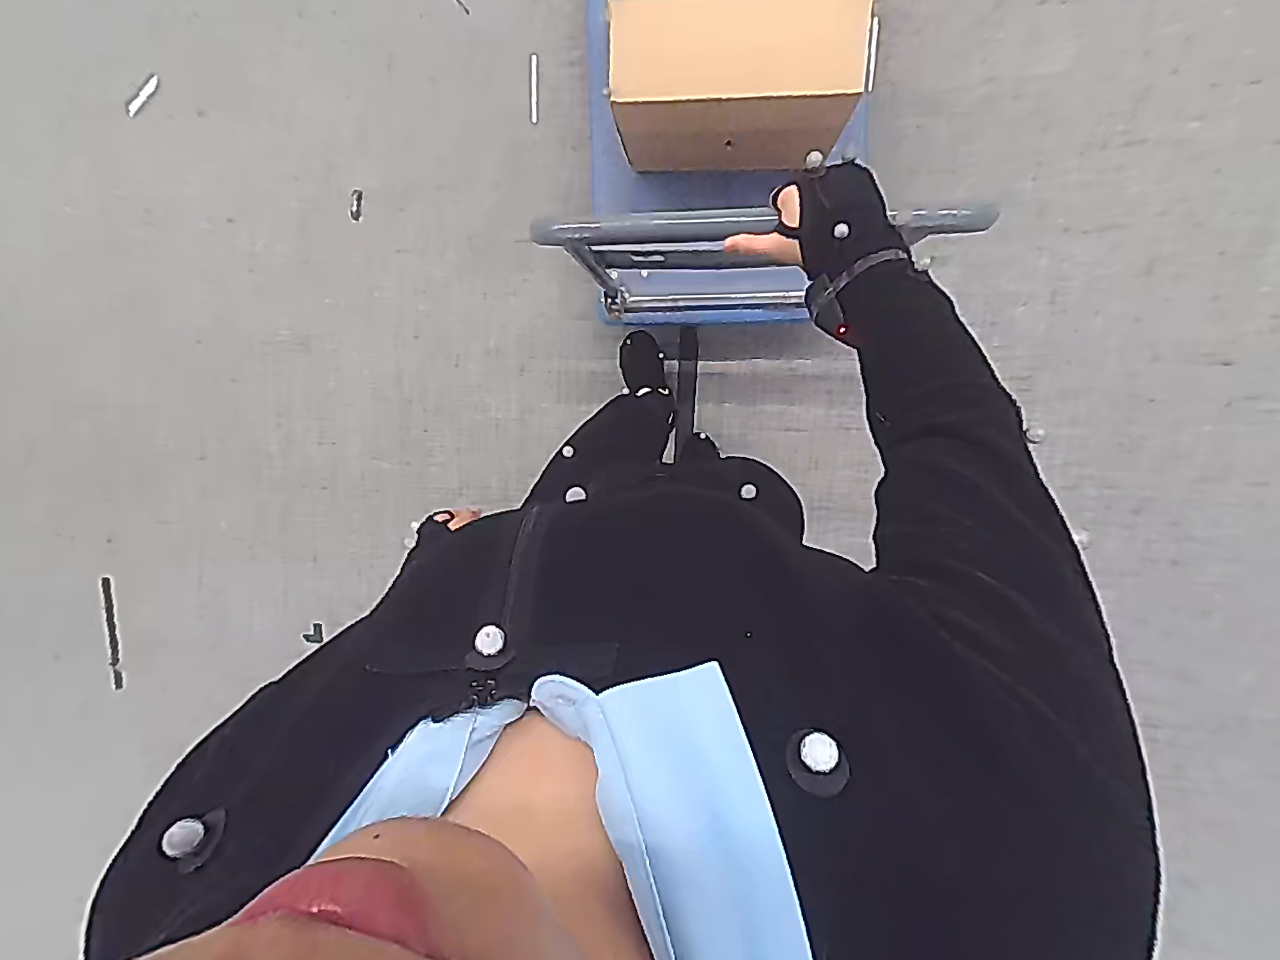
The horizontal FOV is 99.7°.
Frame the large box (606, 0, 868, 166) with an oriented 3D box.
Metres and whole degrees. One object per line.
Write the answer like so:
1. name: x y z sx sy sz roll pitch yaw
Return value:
1. large box: 0.164 -0.790 0.967 0.408 0.320 0.320 2 100 7
